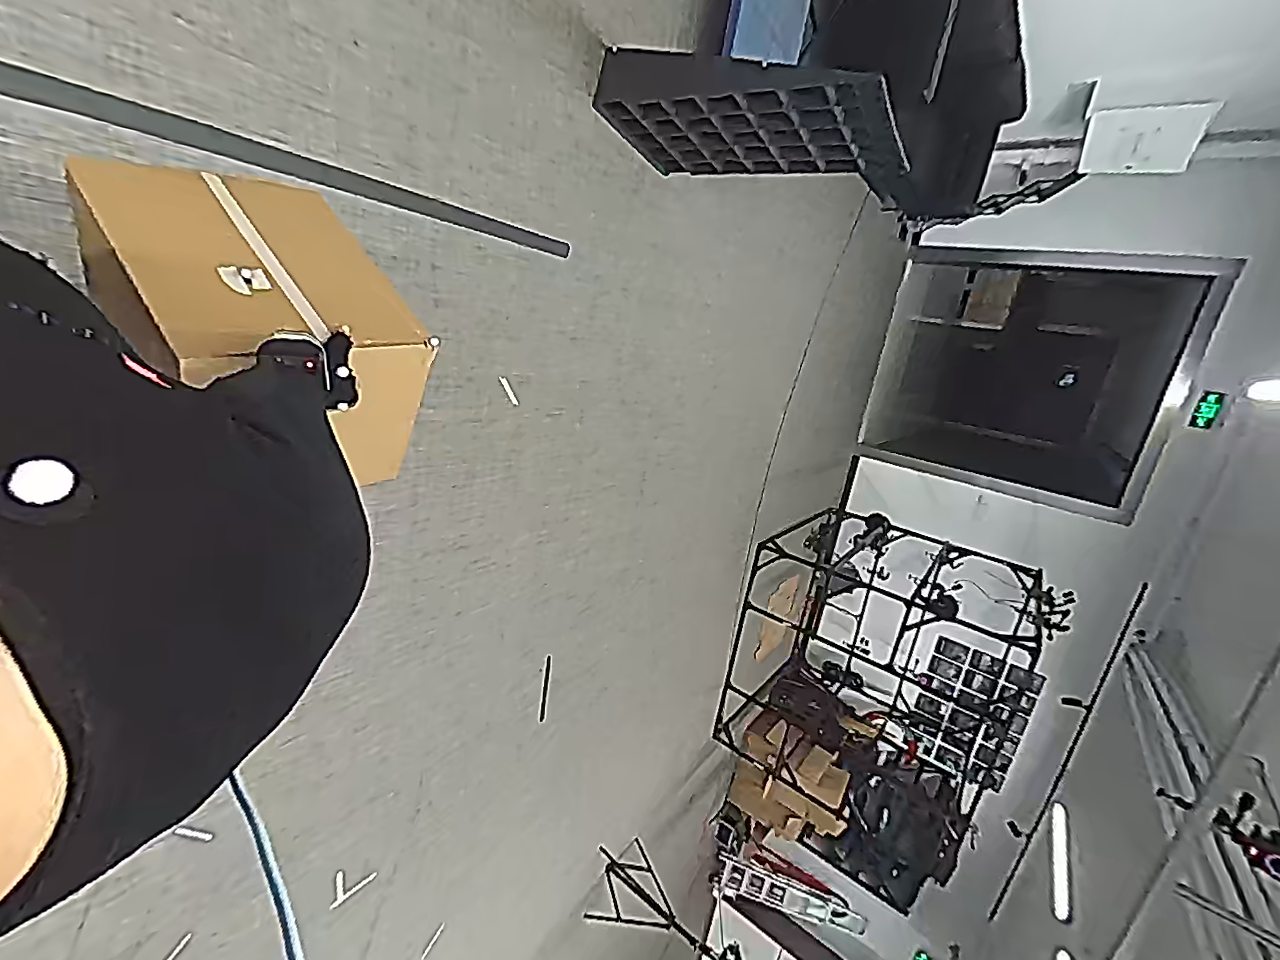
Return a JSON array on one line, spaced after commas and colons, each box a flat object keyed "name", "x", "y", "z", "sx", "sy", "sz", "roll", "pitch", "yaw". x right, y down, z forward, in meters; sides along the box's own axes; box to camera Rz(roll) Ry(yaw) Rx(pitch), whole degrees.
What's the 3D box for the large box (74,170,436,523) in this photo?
[{"name": "large box", "x": -0.604, "y": -0.207, "z": 0.863, "sx": 0.320, "sy": 0.408, "sz": 0.320, "roll": -22, "pitch": 156, "yaw": -48}]
